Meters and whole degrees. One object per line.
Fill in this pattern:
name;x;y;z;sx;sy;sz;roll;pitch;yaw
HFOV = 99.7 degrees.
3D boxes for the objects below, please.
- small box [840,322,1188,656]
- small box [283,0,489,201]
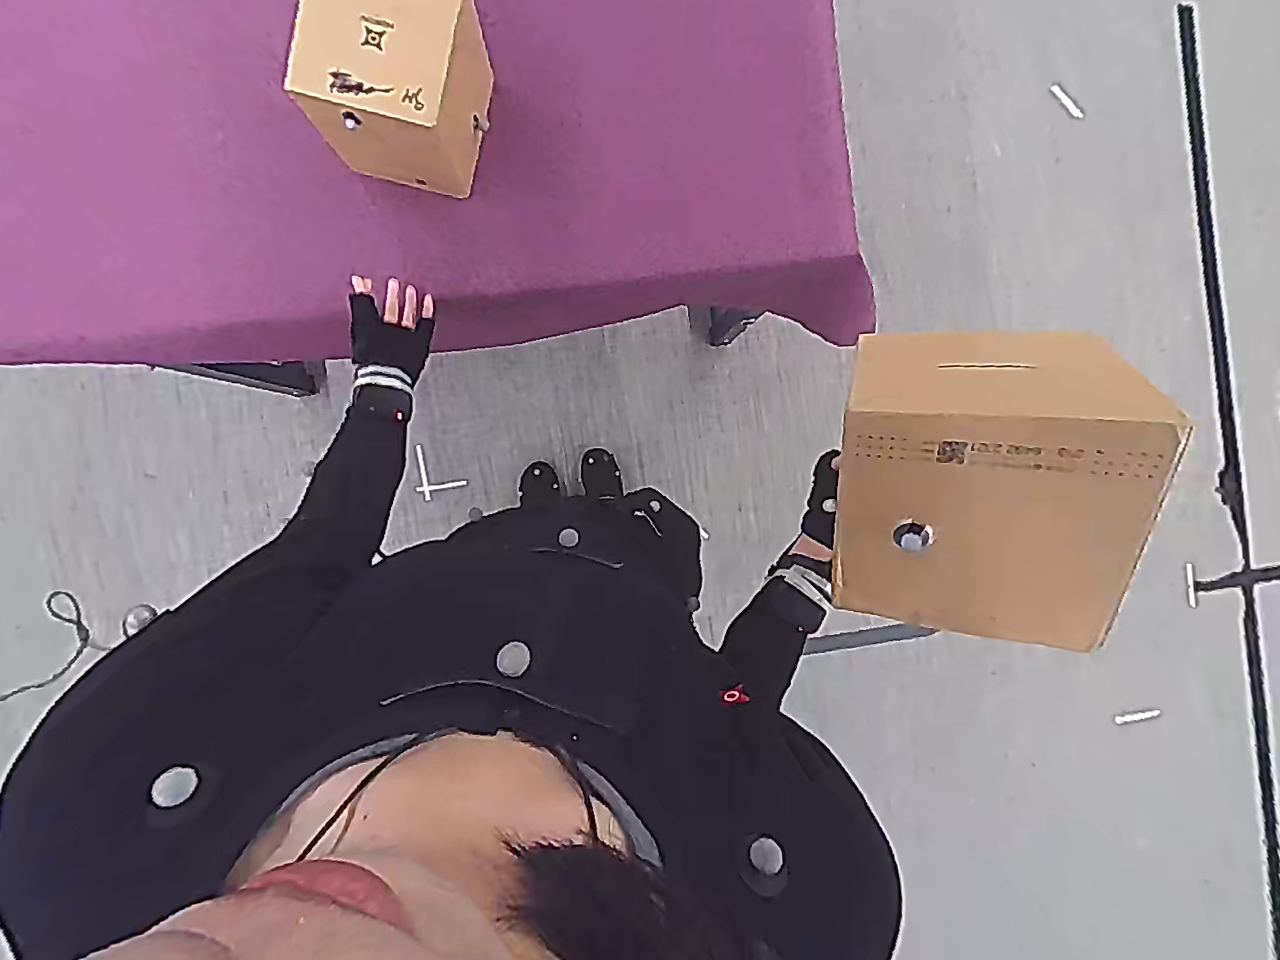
small box;0.241;-0.008;0.394;0.168;0.179;0.176;6;122;22
small box;-0.293;-0.487;0.667;0.168;0.176;0.179;13;90;-5
